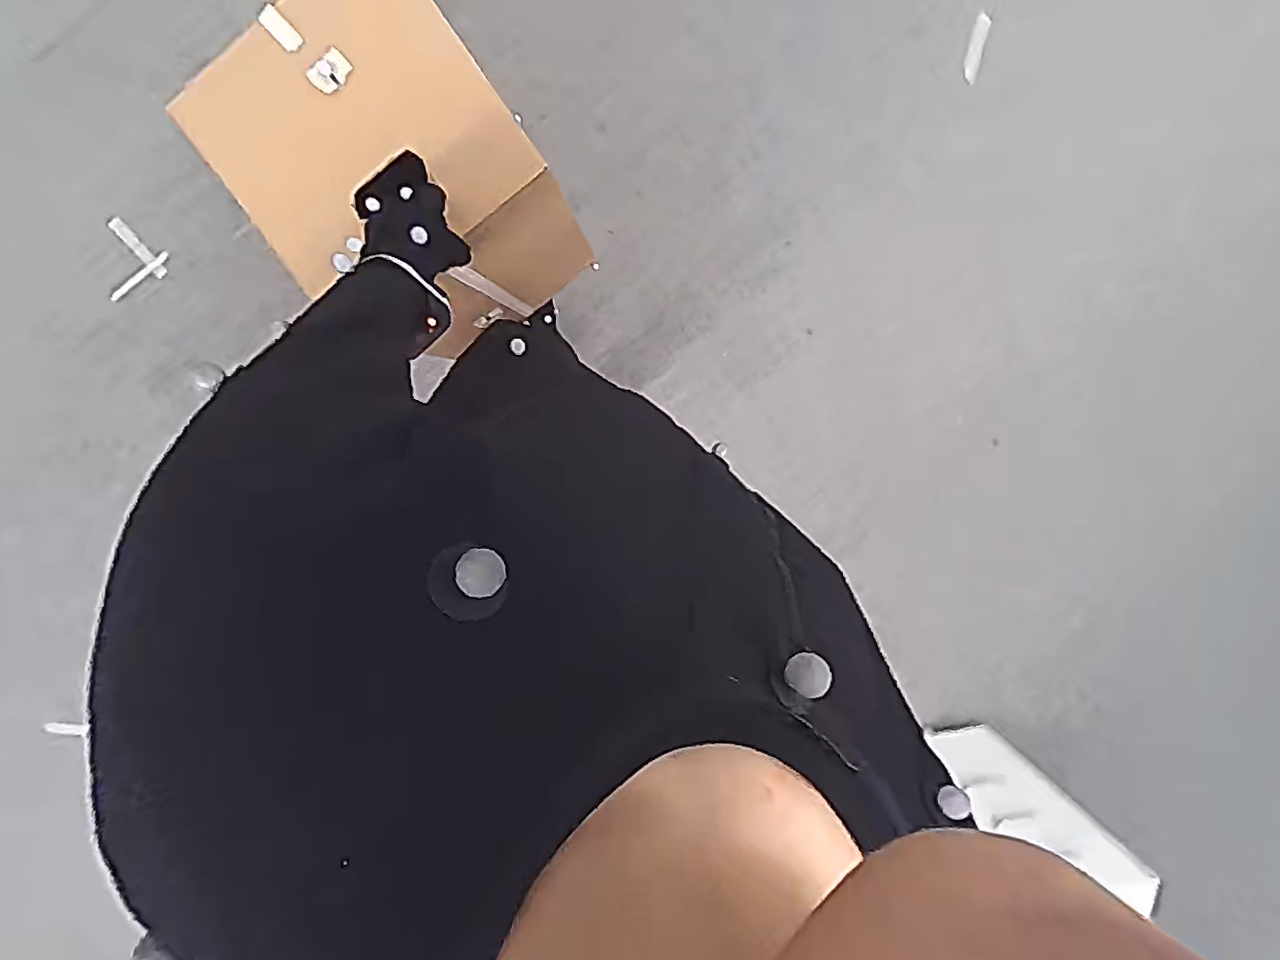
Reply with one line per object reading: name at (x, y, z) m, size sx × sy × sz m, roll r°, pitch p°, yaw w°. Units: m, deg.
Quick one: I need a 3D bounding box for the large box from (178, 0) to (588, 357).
large box at (-0.319, -0.407, 0.804) m, size 0.320 × 0.408 × 0.320 m, roll -36°, pitch 96°, yaw 9°
